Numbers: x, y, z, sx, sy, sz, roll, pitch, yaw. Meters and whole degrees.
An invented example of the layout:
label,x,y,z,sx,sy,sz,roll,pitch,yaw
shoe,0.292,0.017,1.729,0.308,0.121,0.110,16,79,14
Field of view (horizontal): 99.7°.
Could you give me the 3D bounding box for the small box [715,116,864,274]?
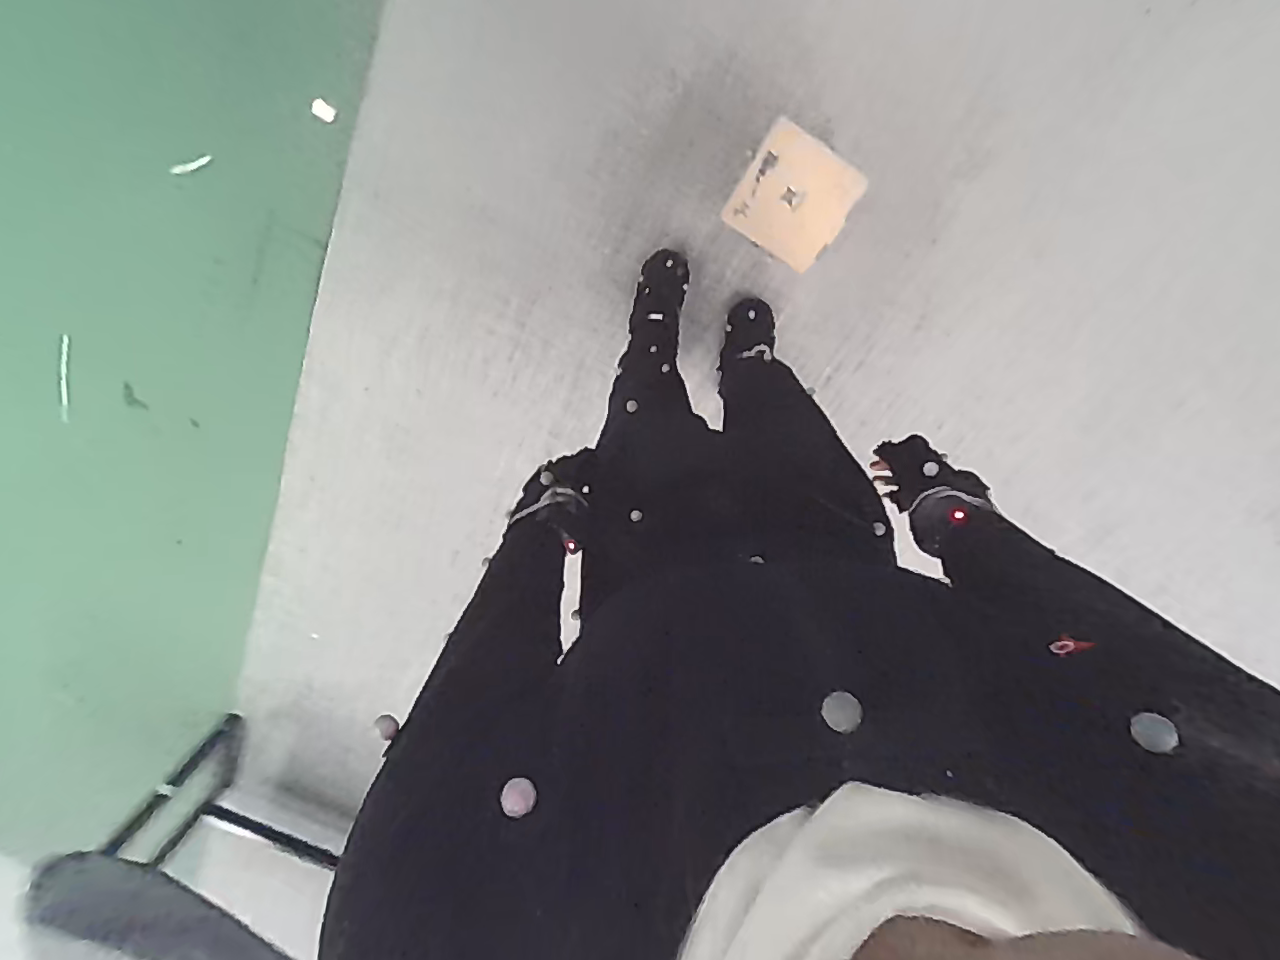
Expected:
label,x,y,z,sx,sy,sz,roll,pitch,yaw
small box,0.246,-0.487,0.934,0.179,0.176,0.168,33,116,-9
